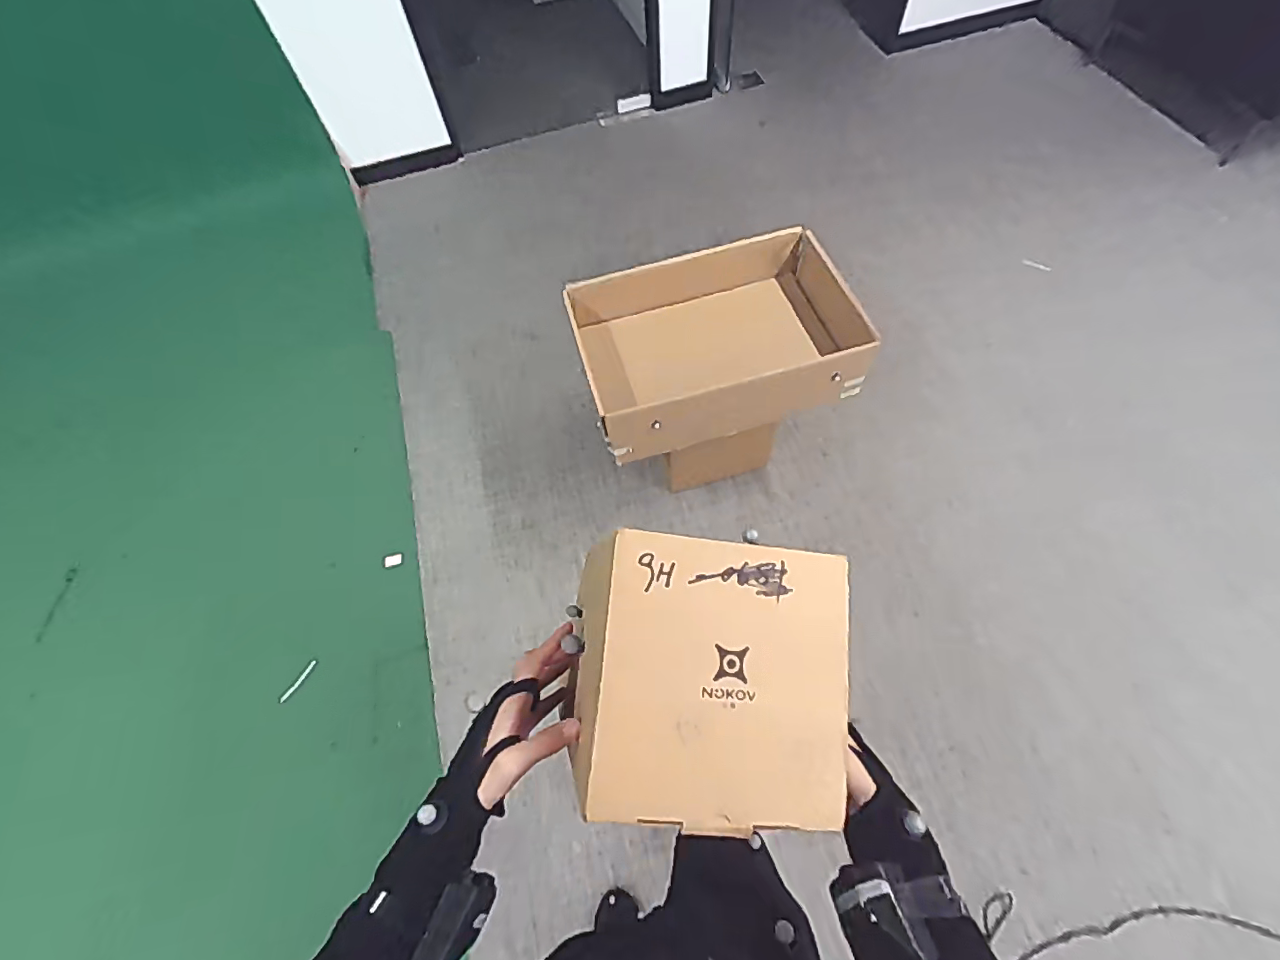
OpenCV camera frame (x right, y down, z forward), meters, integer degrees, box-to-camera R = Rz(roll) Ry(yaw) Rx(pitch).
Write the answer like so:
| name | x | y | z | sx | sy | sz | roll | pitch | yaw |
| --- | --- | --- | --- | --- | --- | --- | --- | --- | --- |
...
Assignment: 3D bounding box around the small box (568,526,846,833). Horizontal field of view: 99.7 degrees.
| name | x | y | z | sx | sy | sz | roll | pitch | yaw |
| --- | --- | --- | --- | --- | --- | --- | --- | --- | --- |
| small box | 0.037 | 0.139 | 0.422 | 0.168 | 0.176 | 0.179 | 9 | 78 | -9 |
